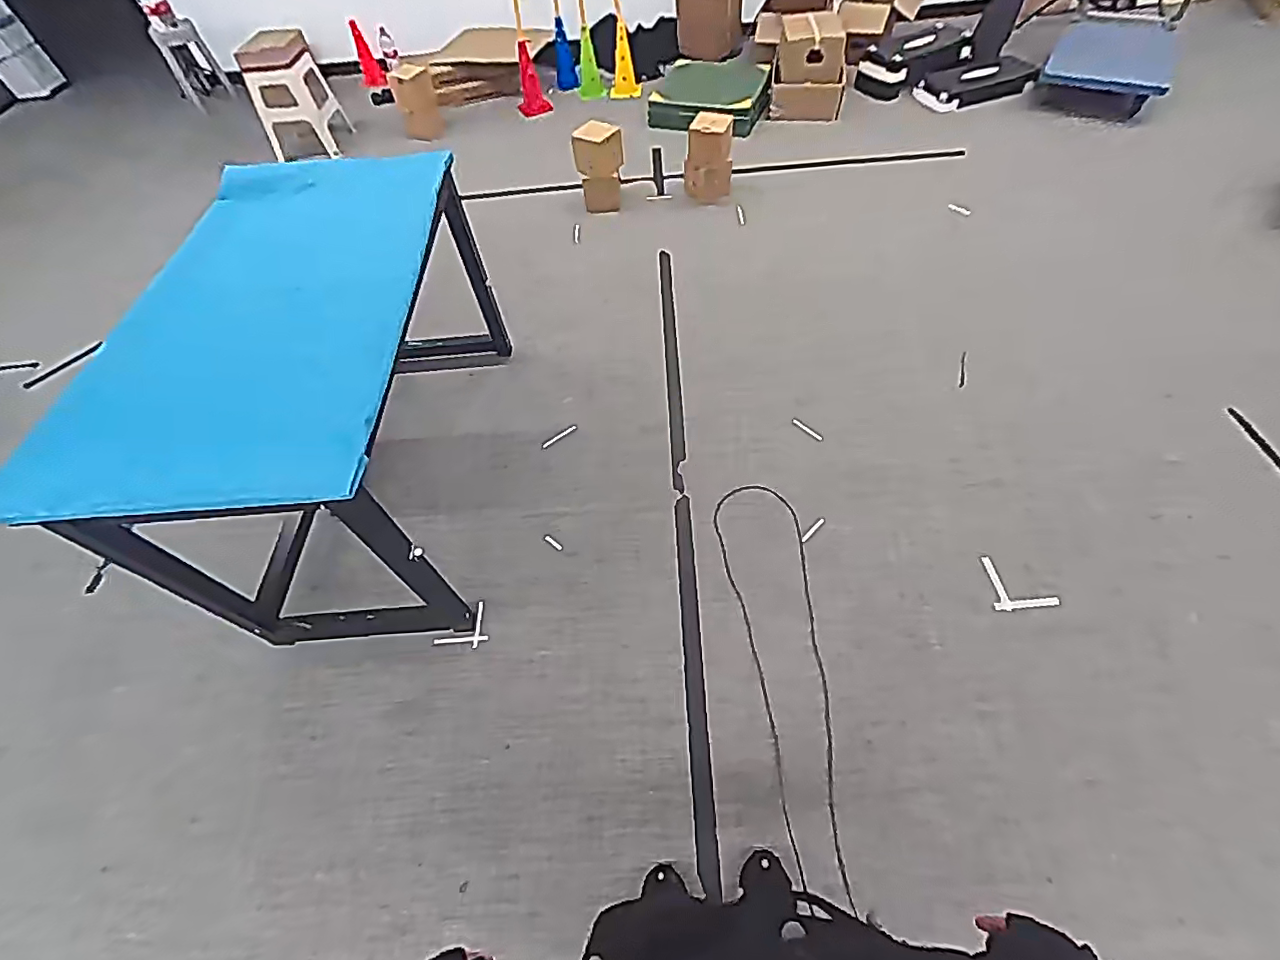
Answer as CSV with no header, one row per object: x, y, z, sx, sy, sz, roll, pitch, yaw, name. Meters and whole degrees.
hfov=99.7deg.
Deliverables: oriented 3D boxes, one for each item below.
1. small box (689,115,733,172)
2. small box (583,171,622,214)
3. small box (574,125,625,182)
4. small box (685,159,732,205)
0.335,-1.594,2.565,0.168,0.176,0.179,17,58,13,small box
-0.183,-1.458,2.711,0.179,0.176,0.168,-3,55,4,small box
-0.195,-1.564,2.580,0.179,0.176,0.168,28,62,23,small box
0.340,-1.511,2.705,0.179,0.176,0.168,-29,60,-14,small box
